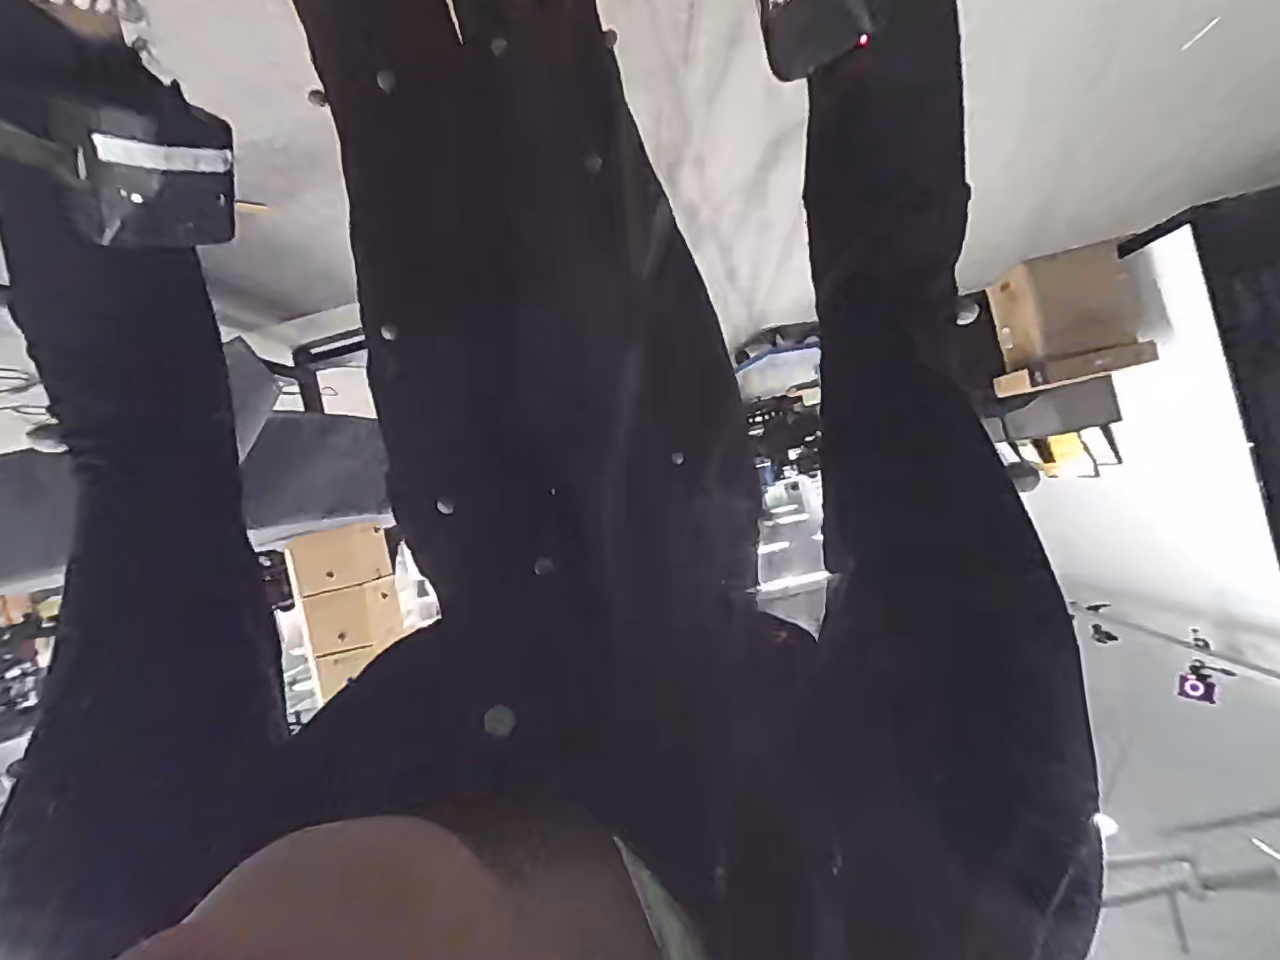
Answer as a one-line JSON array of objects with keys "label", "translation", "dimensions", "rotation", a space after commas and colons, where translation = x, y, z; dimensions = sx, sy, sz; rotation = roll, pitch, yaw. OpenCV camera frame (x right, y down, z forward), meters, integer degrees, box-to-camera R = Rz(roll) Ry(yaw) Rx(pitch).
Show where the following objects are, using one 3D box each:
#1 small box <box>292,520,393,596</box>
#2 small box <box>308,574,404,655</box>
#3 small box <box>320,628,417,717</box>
[{"label": "small box", "translation": [-0.831, 0.210, 1.515], "dimensions": [0.179, 0.176, 0.168], "rotation": [-12, 179, 5]}, {"label": "small box", "translation": [-0.794, 0.367, 1.510], "dimensions": [0.179, 0.176, 0.168], "rotation": [-13, 179, 5]}, {"label": "small box", "translation": [-0.754, 0.527, 1.505], "dimensions": [0.168, 0.176, 0.179], "rotation": [-13, 179, 3]}]
